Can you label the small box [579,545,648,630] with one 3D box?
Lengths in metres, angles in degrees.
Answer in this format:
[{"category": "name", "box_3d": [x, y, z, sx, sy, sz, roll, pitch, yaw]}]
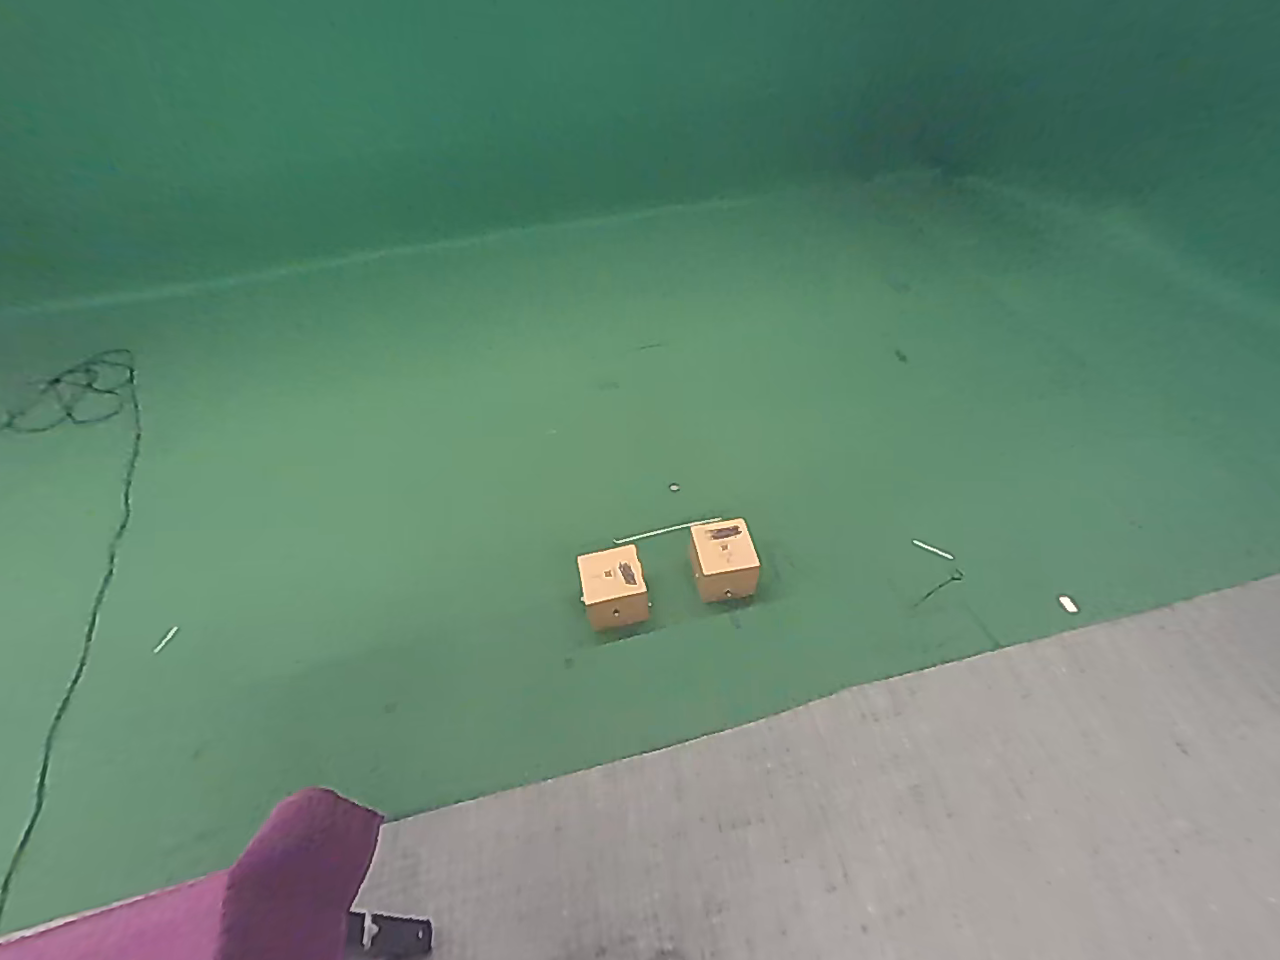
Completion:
[{"category": "small box", "box_3d": [-0.075, 0.320, 1.599, 0.179, 0.176, 0.168, -12, 49, -5]}]
